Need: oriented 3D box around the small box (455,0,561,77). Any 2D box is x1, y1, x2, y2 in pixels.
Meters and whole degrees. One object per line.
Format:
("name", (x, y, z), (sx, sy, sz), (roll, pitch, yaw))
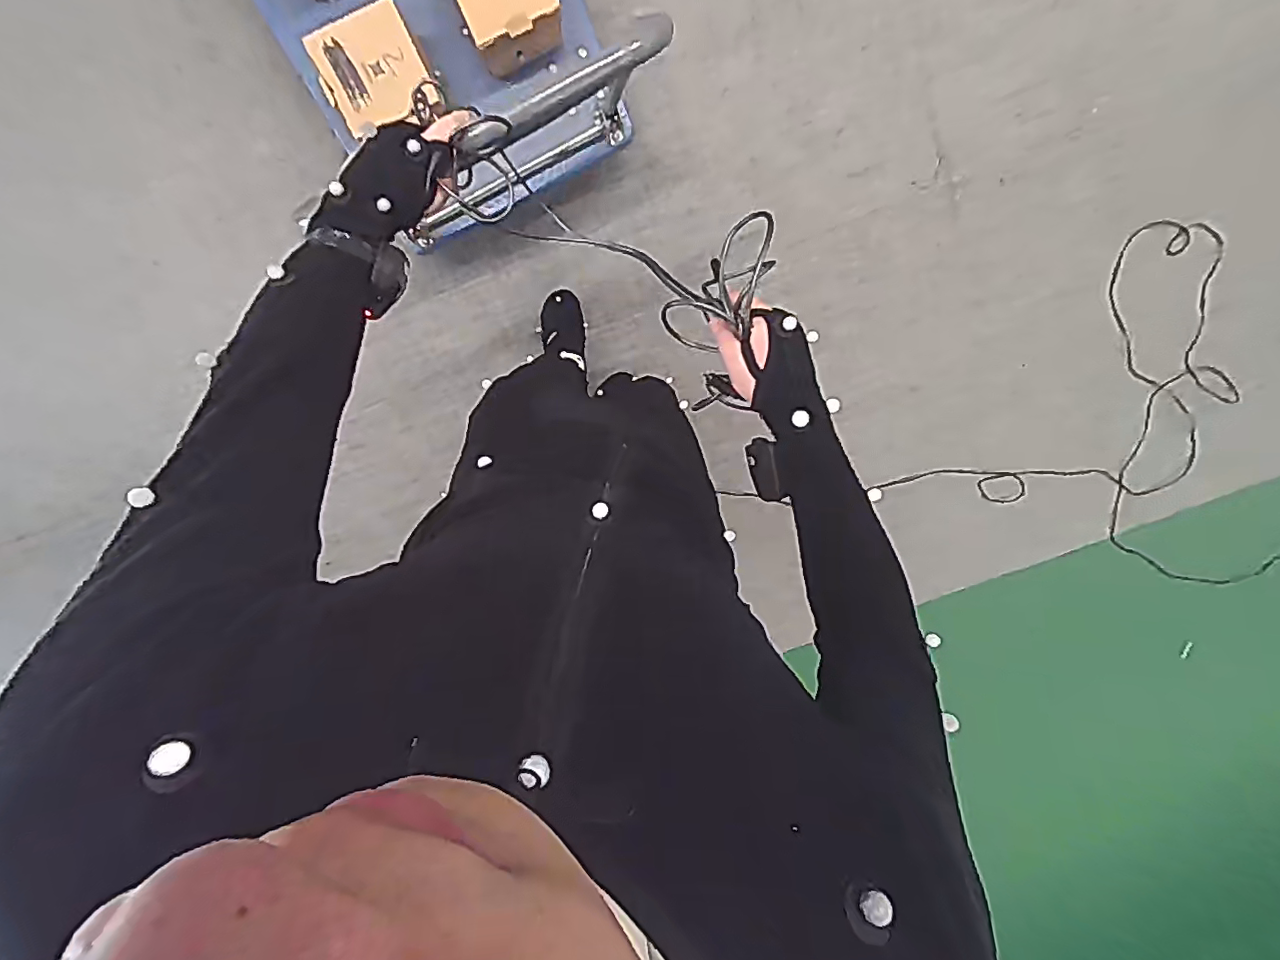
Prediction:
("small box", (-0.257, -0.900, 1.003), (0.168, 0.176, 0.179), (-24, 113, 4))
